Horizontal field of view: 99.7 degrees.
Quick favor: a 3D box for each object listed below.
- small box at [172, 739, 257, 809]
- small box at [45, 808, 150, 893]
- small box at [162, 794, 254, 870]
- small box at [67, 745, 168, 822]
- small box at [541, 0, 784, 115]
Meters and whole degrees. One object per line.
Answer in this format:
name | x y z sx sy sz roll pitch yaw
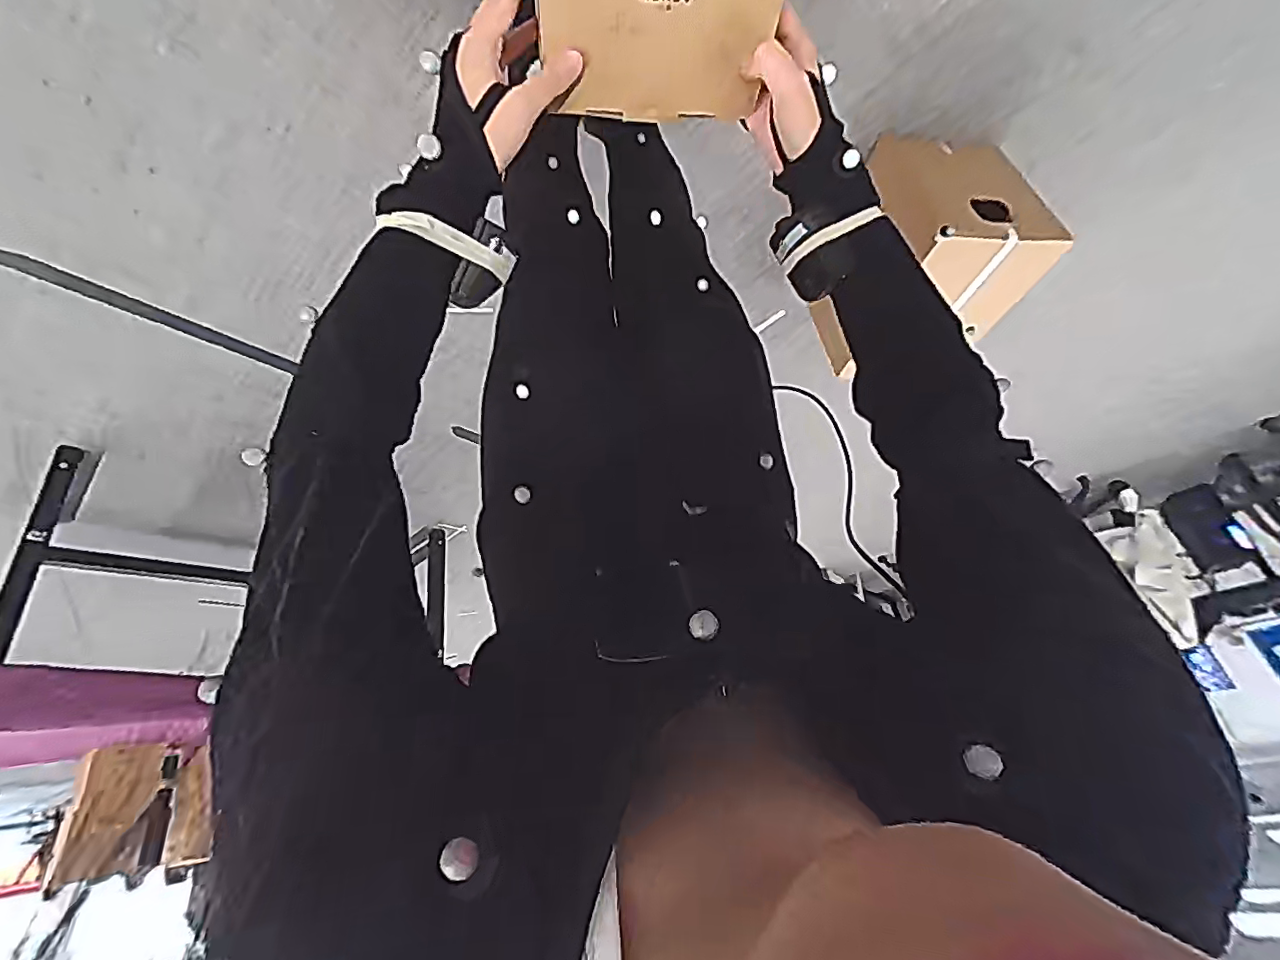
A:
small box | -1.367 0.943 1.747 0.179 0.176 0.168 -30 146 31
small box | -1.511 1.029 1.512 0.179 0.176 0.168 -32 146 32
small box | -1.335 1.089 1.682 0.179 0.176 0.168 -30 146 28
small box | -1.531 0.888 1.592 0.179 0.176 0.168 -30 147 30
small box | 0.011 -0.401 0.381 0.168 0.176 0.179 -3 155 -9
